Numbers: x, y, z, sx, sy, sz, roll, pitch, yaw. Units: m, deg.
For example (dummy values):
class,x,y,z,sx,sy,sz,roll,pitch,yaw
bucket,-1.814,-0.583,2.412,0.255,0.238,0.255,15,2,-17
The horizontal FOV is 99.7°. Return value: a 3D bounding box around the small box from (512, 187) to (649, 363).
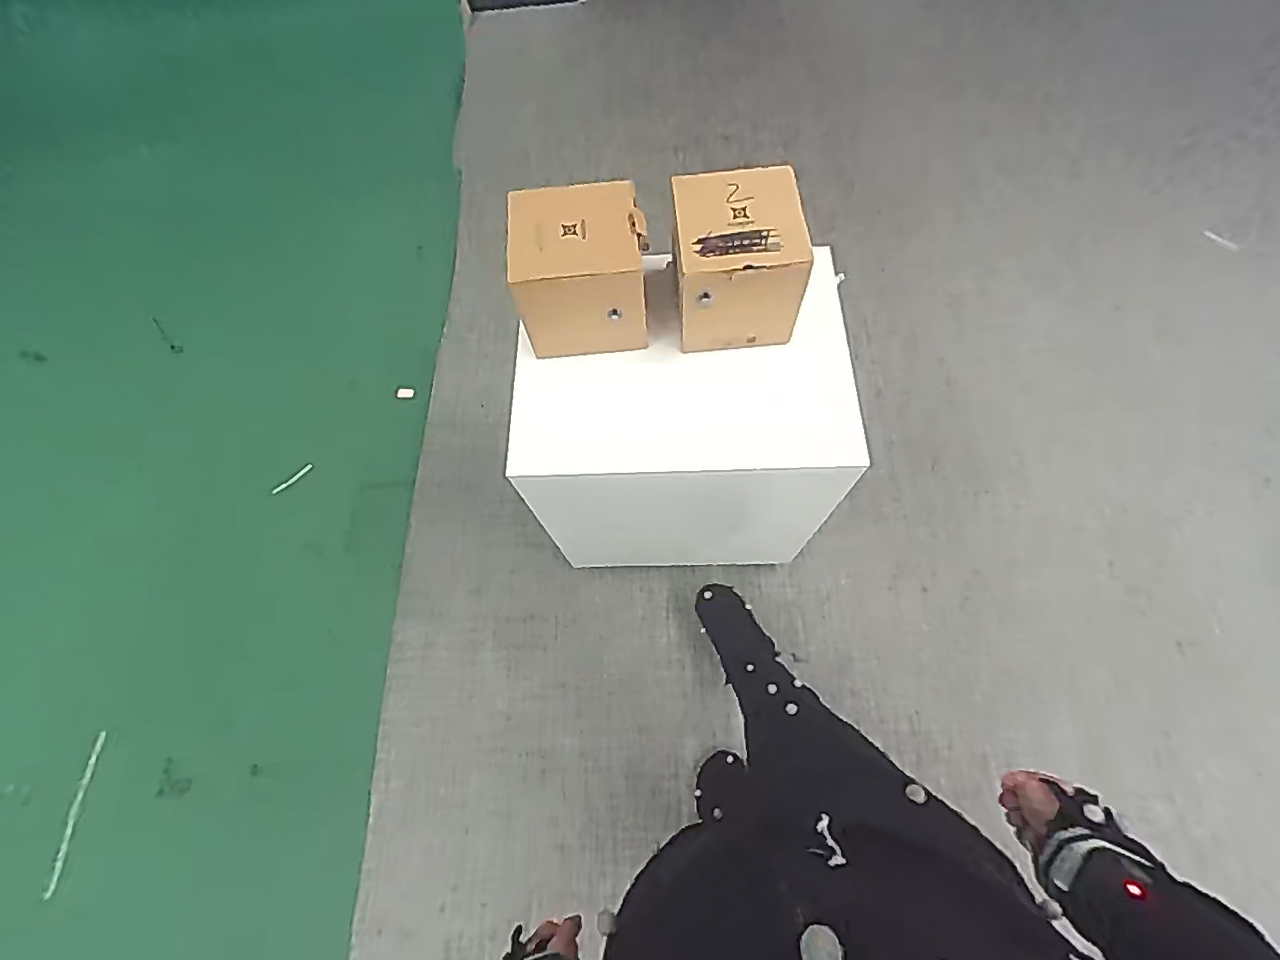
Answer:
class,x,y,z,sx,sy,sz,roll,pitch,yaw
small box,-0.079,-0.291,0.790,0.179,0.176,0.168,-5,66,1
